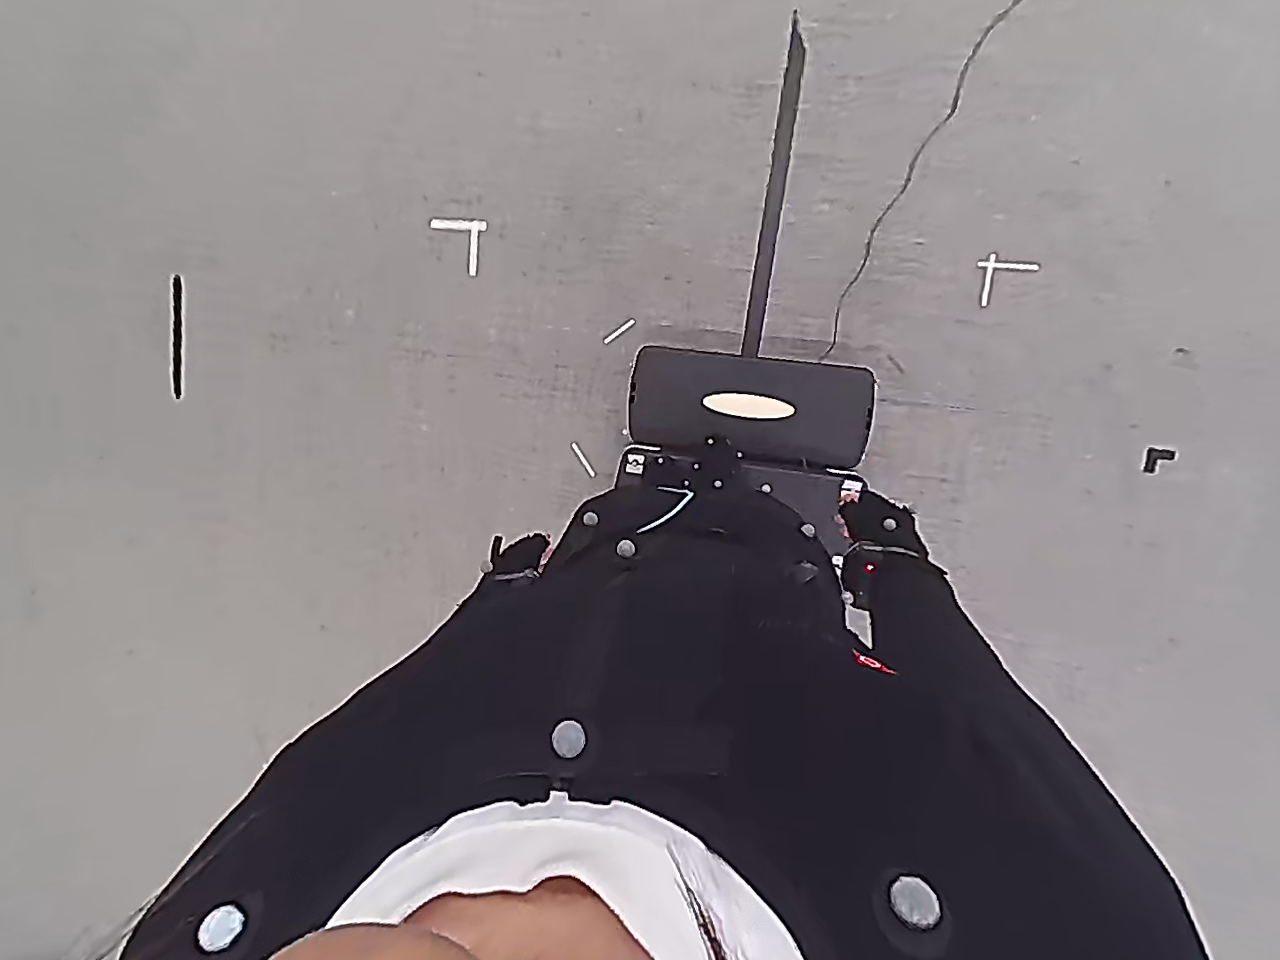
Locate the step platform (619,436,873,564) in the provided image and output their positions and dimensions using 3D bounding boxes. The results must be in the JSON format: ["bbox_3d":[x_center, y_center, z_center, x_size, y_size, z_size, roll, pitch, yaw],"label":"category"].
[{"bbox_3d":[0.283,0.048,1.516,0.684,0.204,0.286,6,96,7],"label":"step platform"}]
